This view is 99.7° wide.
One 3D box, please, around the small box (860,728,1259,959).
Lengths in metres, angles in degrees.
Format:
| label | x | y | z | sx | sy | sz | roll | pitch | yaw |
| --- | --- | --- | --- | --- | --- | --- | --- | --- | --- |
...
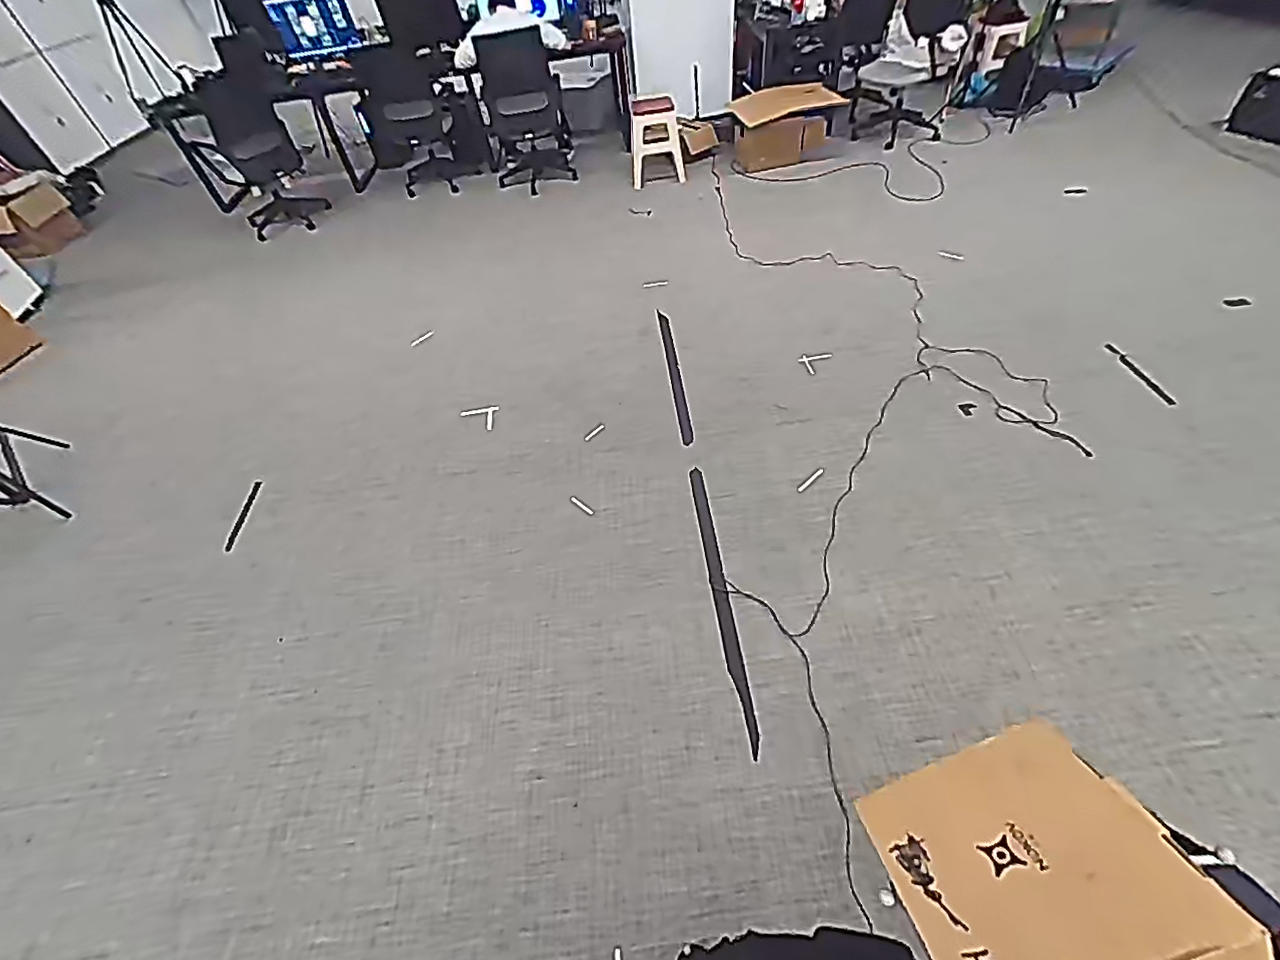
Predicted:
| label | x | y | z | sx | sy | sz | roll | pitch | yaw |
| --- | --- | --- | --- | --- | --- | --- | --- | --- | --- |
| small box | 0.308 | 0.341 | 0.418 | 0.179 | 0.176 | 0.168 | -25 | 15 | 5 |
